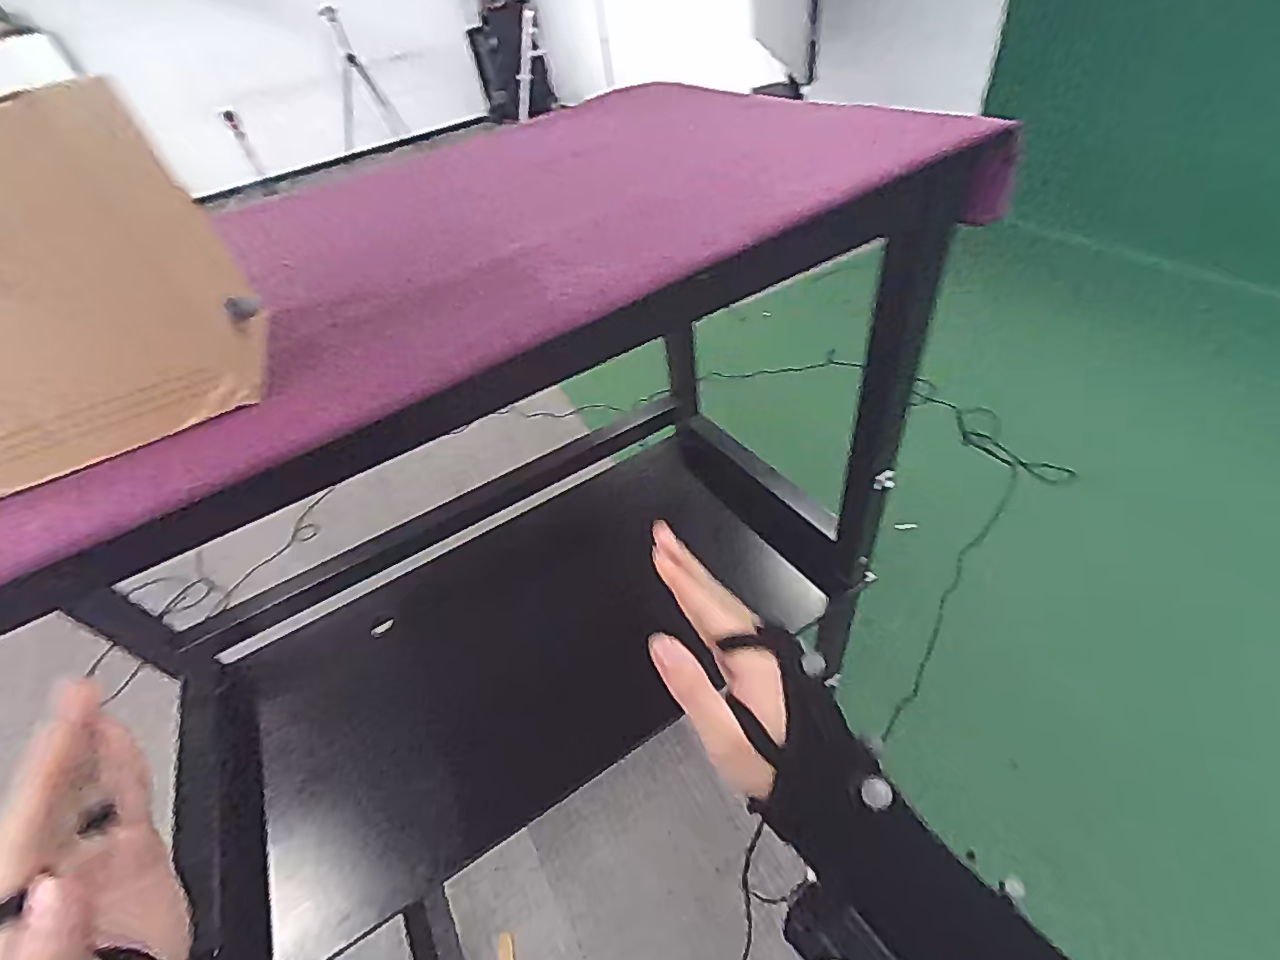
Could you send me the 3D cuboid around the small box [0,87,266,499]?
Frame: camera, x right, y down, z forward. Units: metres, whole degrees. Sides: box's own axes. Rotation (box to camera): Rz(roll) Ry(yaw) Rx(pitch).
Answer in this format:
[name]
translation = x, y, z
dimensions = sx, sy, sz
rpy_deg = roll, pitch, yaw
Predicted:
[small box]
translation = -0.367, -0.110, 0.322
dimensions = 0.179, 0.176, 0.168
rpy_deg = -26, 45, -14
